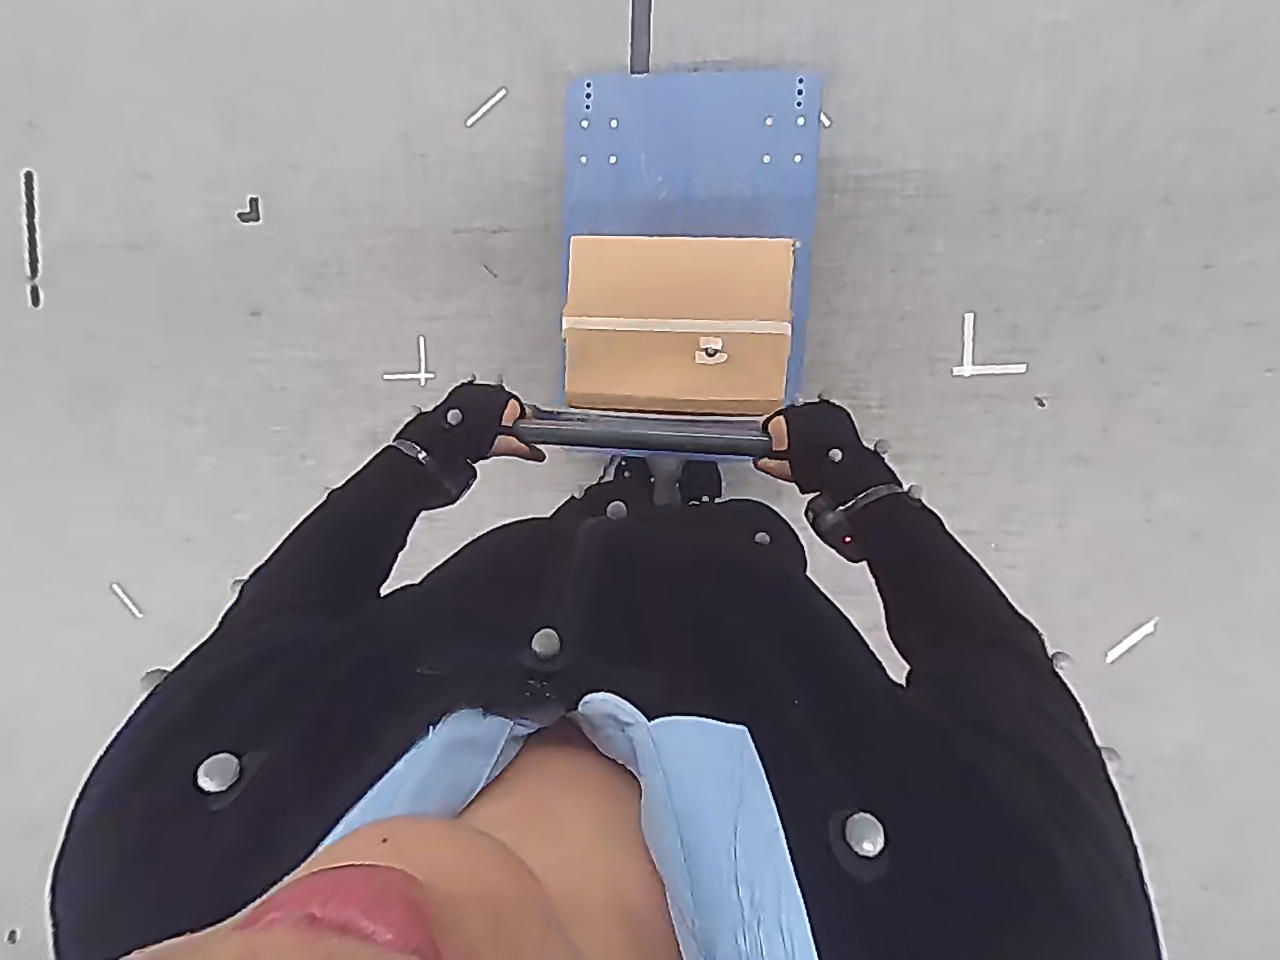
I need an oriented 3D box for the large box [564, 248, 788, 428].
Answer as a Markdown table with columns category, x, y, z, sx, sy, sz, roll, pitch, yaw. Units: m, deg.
| category | x | y | z | sx | sy | sz | roll | pitch | yaw |
| --- | --- | --- | --- | --- | --- | --- | --- | --- | --- |
| large box | 0.071 | -0.272 | 1.128 | 0.408 | 0.320 | 0.320 | 3 | 95 | 5 |
